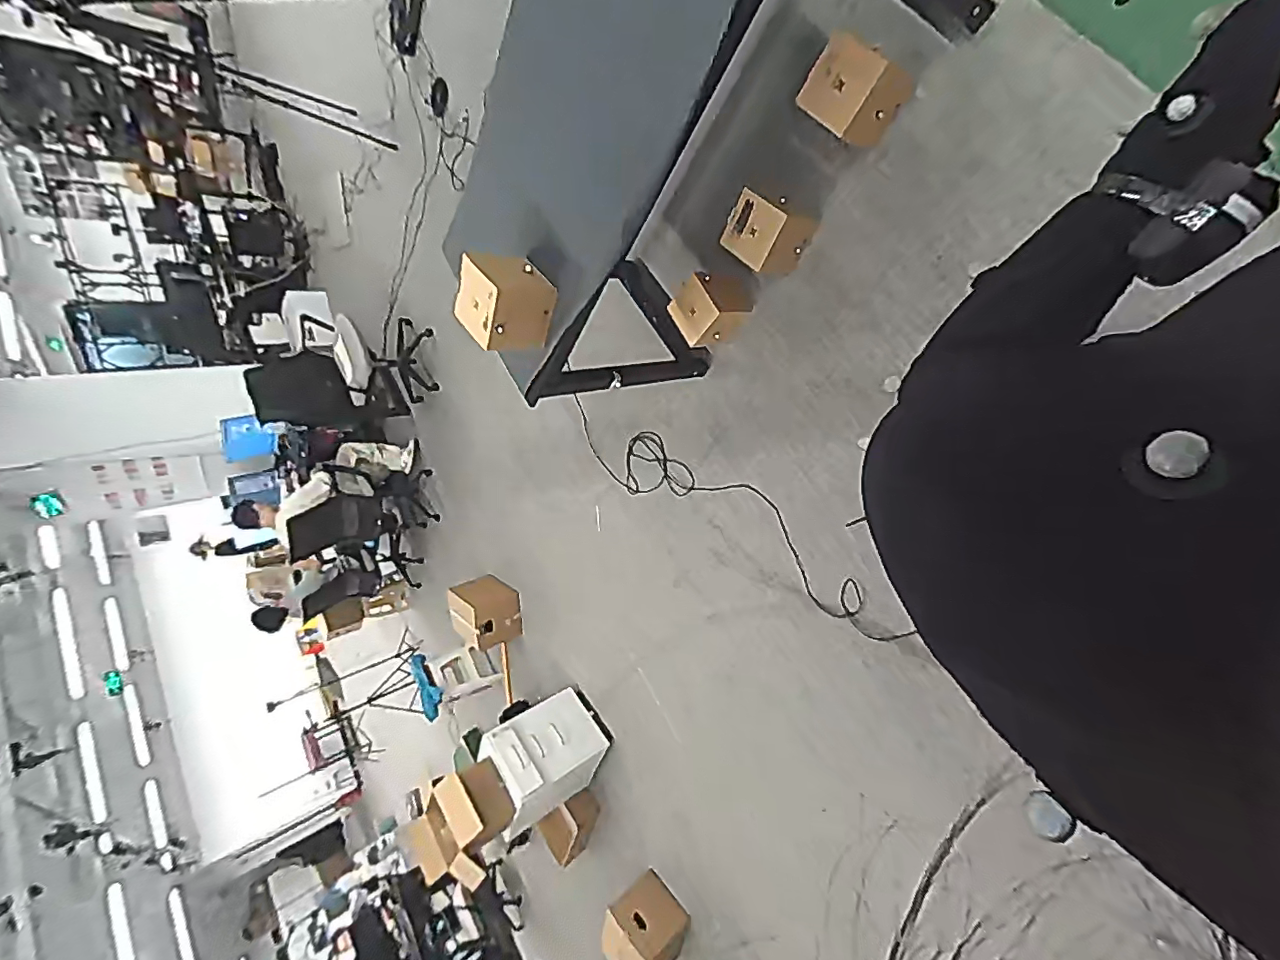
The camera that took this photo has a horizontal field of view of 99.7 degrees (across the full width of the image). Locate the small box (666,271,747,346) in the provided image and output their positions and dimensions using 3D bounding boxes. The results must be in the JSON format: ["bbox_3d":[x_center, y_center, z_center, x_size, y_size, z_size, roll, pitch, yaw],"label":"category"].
[{"bbox_3d":[0.224,-0.572,1.796,0.168,0.176,0.179,-45,68,47],"label":"small box"}]

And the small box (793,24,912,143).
[{"bbox_3d":[0.520,-0.955,1.319,0.179,0.176,0.168,55,136,21],"label":"small box"}]

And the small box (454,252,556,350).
[{"bbox_3d":[-0.337,-0.442,1.344,0.179,0.176,0.168,49,134,27],"label":"small box"}]
